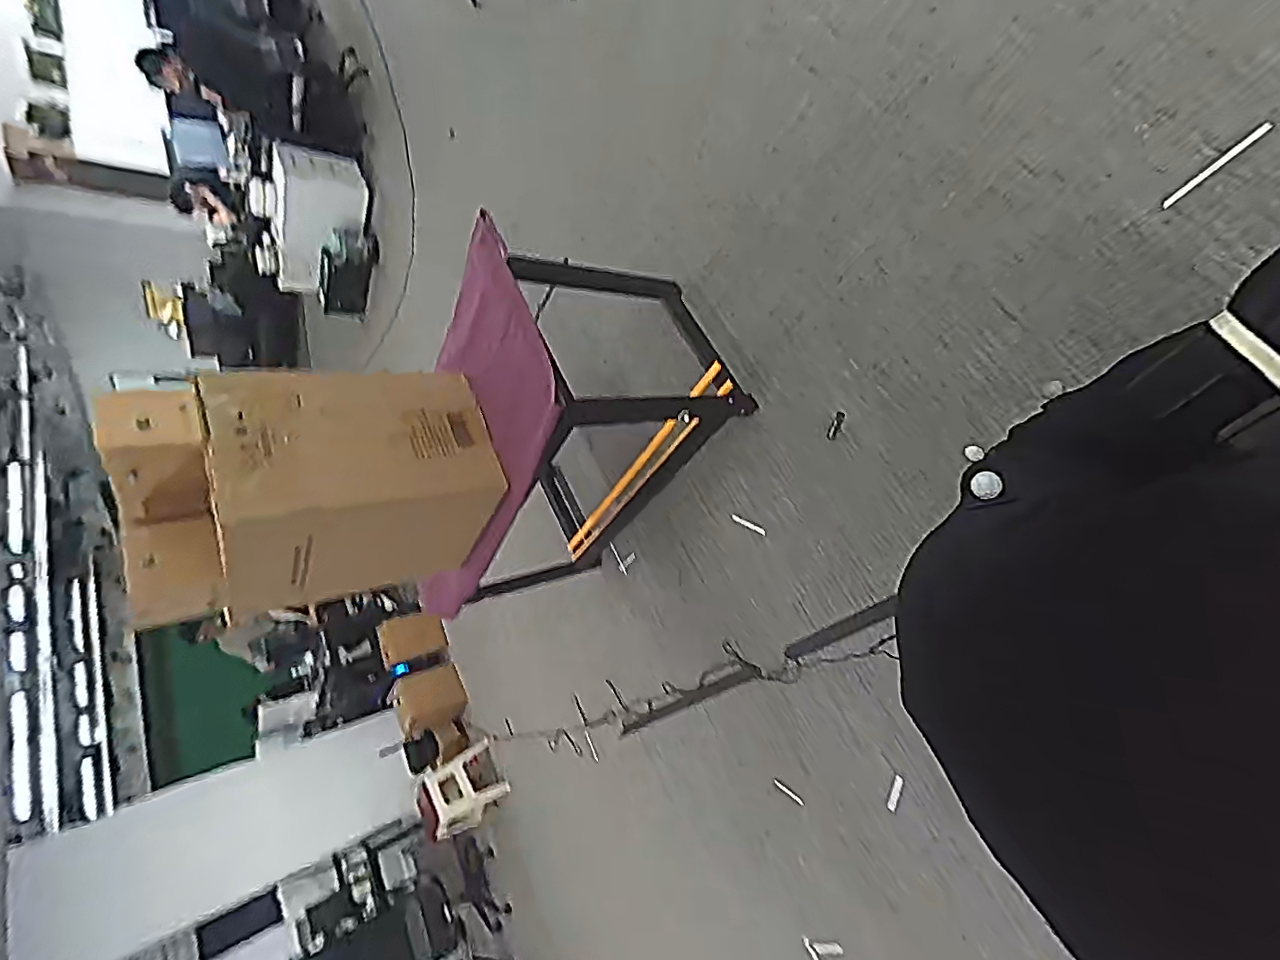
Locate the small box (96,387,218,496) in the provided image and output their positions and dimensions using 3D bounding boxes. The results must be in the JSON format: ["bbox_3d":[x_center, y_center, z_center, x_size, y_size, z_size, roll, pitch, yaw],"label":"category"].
[{"bbox_3d":[-1.053,-0.091,1.189,0.168,0.176,0.179,59,138,24],"label":"small box"}]
